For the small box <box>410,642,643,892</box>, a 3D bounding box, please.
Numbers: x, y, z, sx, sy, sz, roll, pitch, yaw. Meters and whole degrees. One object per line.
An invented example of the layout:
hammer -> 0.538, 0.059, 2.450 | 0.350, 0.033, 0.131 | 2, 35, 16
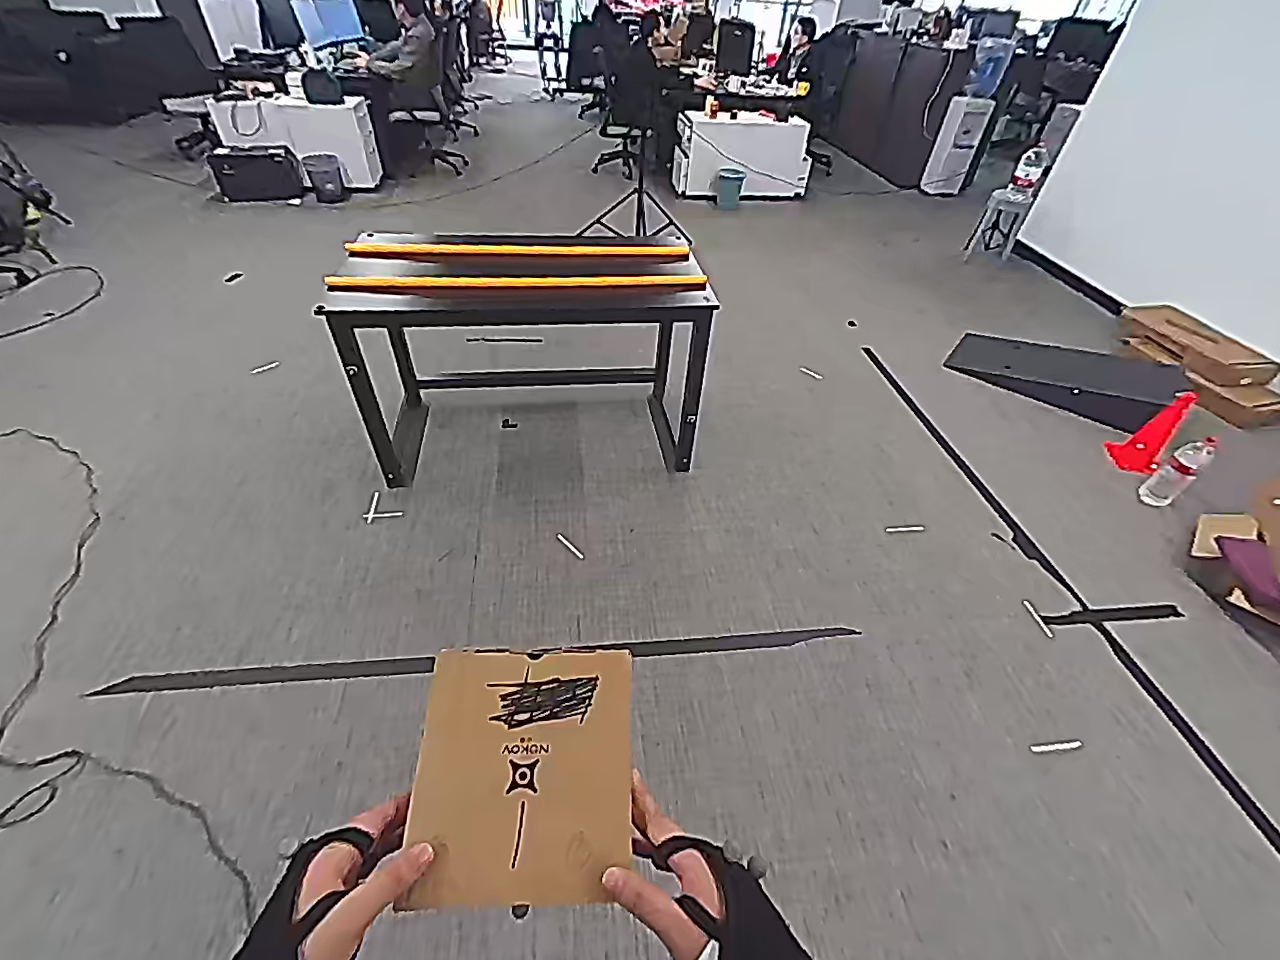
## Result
small box -> -0.087, 0.259, 0.492 | 0.168, 0.176, 0.179 | 1, 57, -4
